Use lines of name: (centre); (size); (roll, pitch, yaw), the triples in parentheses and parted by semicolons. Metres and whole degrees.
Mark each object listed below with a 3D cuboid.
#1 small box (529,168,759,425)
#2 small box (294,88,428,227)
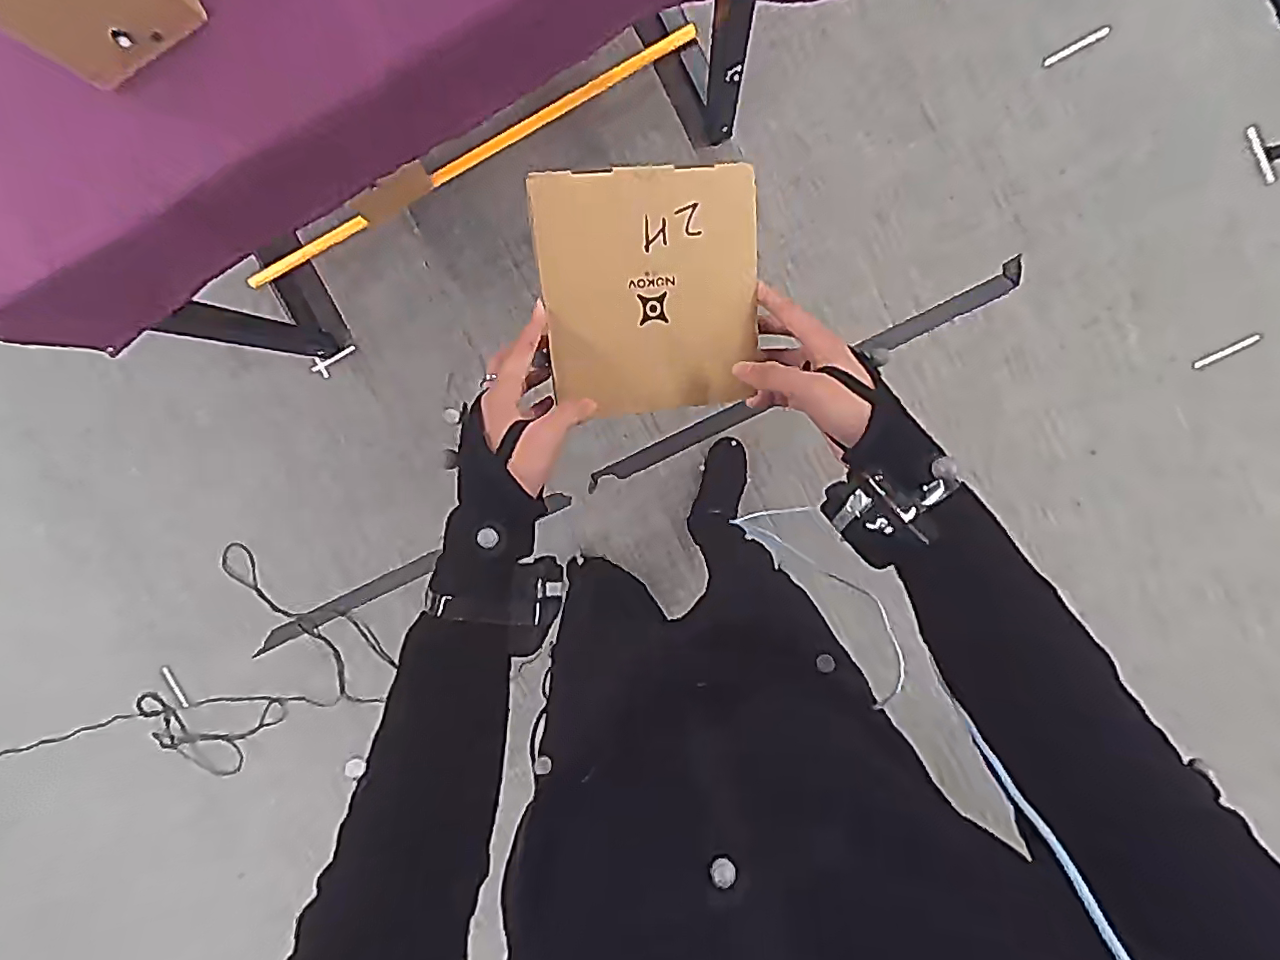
small box: (-0.003, -0.158, 0.481); (0.168, 0.176, 0.179); (-8, 108, -8)
small box: (-0.597, -0.697, 1.190); (0.179, 0.176, 0.168); (-28, 94, 7)
